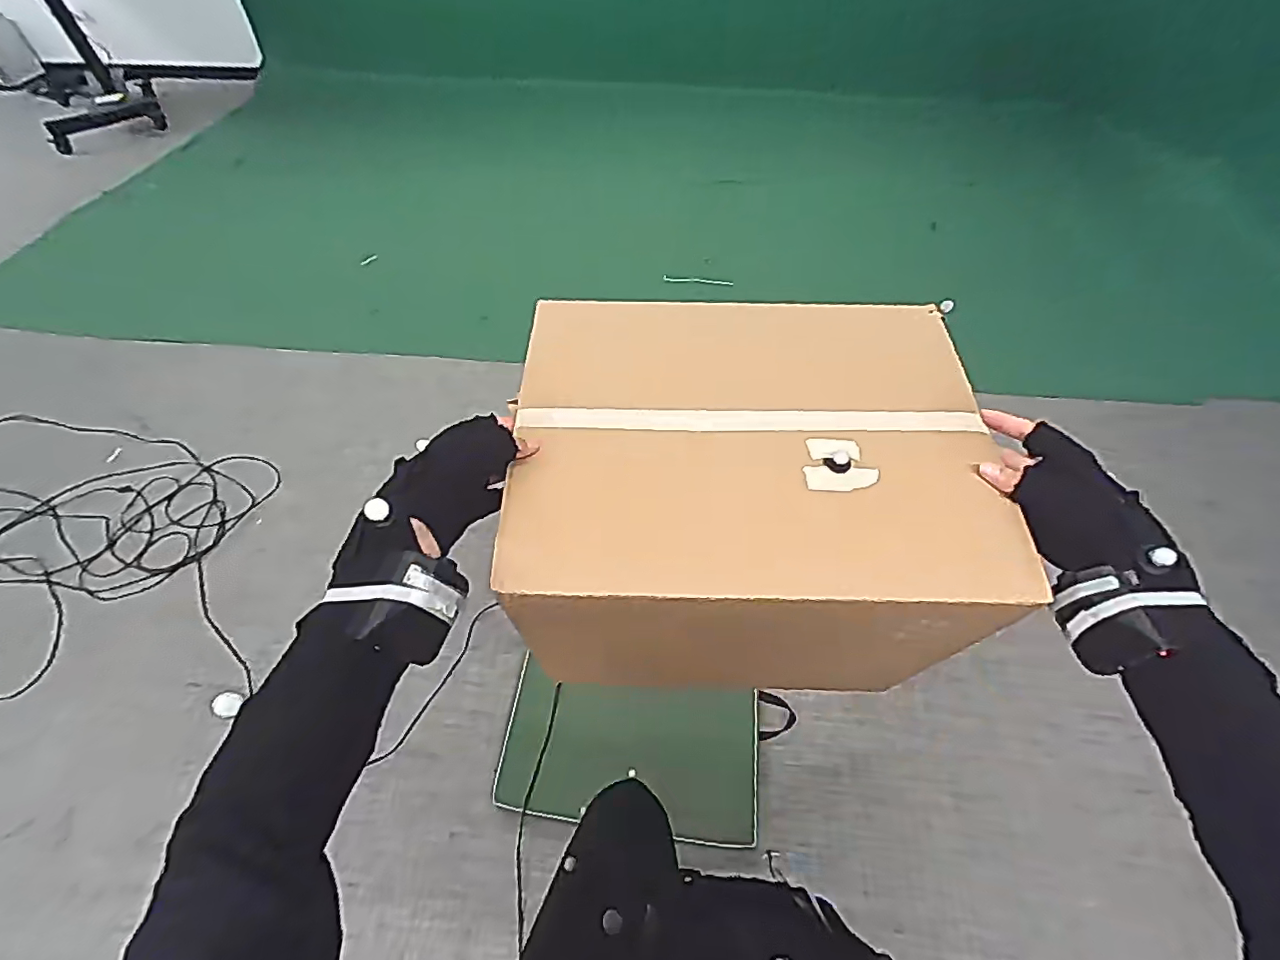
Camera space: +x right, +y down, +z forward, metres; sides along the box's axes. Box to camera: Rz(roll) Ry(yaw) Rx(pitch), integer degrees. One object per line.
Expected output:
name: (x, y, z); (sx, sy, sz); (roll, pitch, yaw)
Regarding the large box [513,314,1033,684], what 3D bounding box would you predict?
large box: (0.098, 0.036, 0.610); (0.408, 0.320, 0.320); (1, 58, 0)
